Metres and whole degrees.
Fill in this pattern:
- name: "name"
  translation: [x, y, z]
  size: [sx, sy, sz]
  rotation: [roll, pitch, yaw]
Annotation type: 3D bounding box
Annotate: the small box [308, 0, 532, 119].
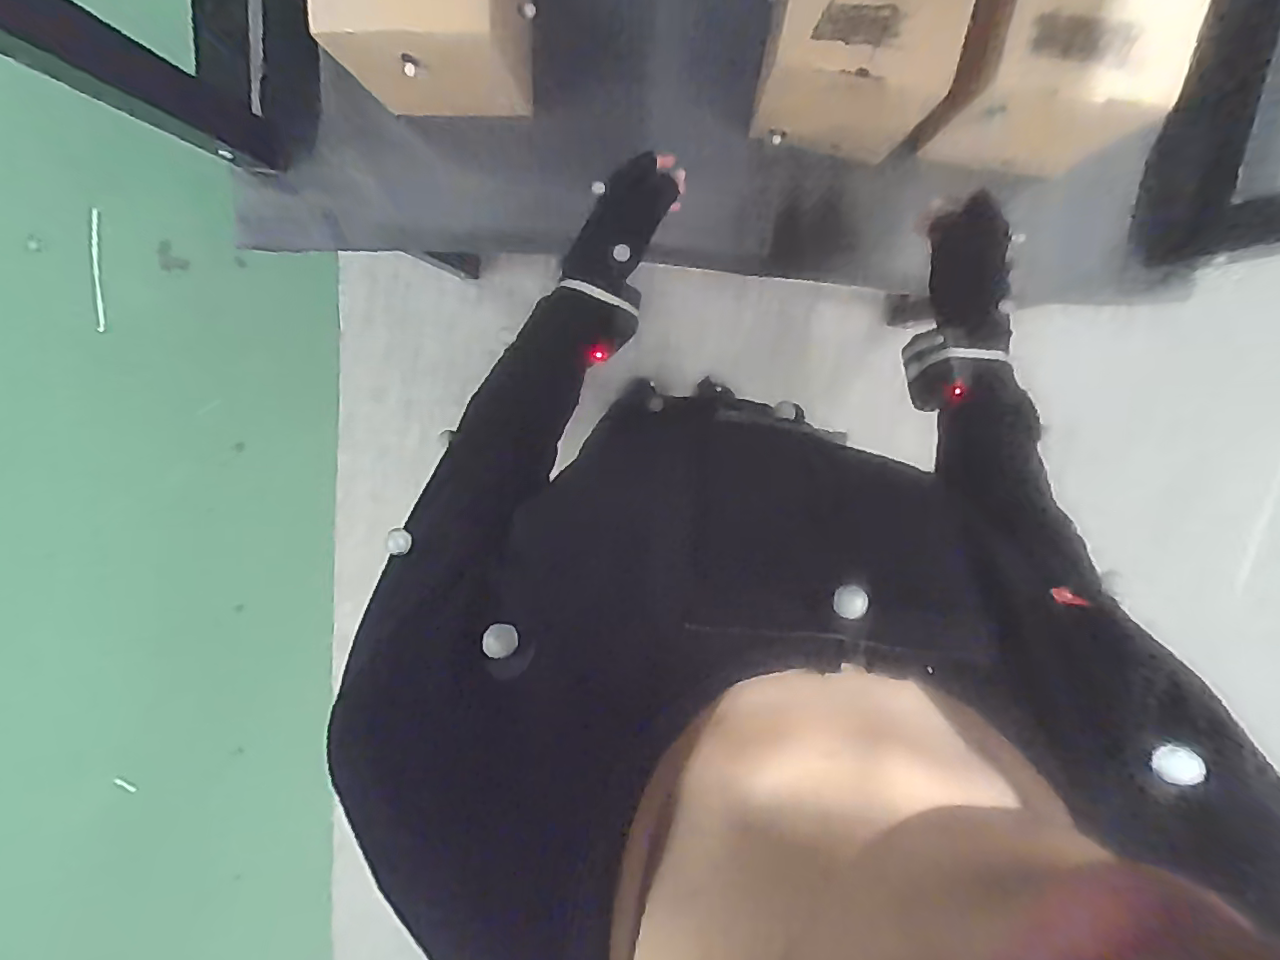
- name: "small box"
  translation: [-0.222, -0.512, 0.576]
  size: [0.179, 0.176, 0.168]
  rotation: [2, 102, 2]
